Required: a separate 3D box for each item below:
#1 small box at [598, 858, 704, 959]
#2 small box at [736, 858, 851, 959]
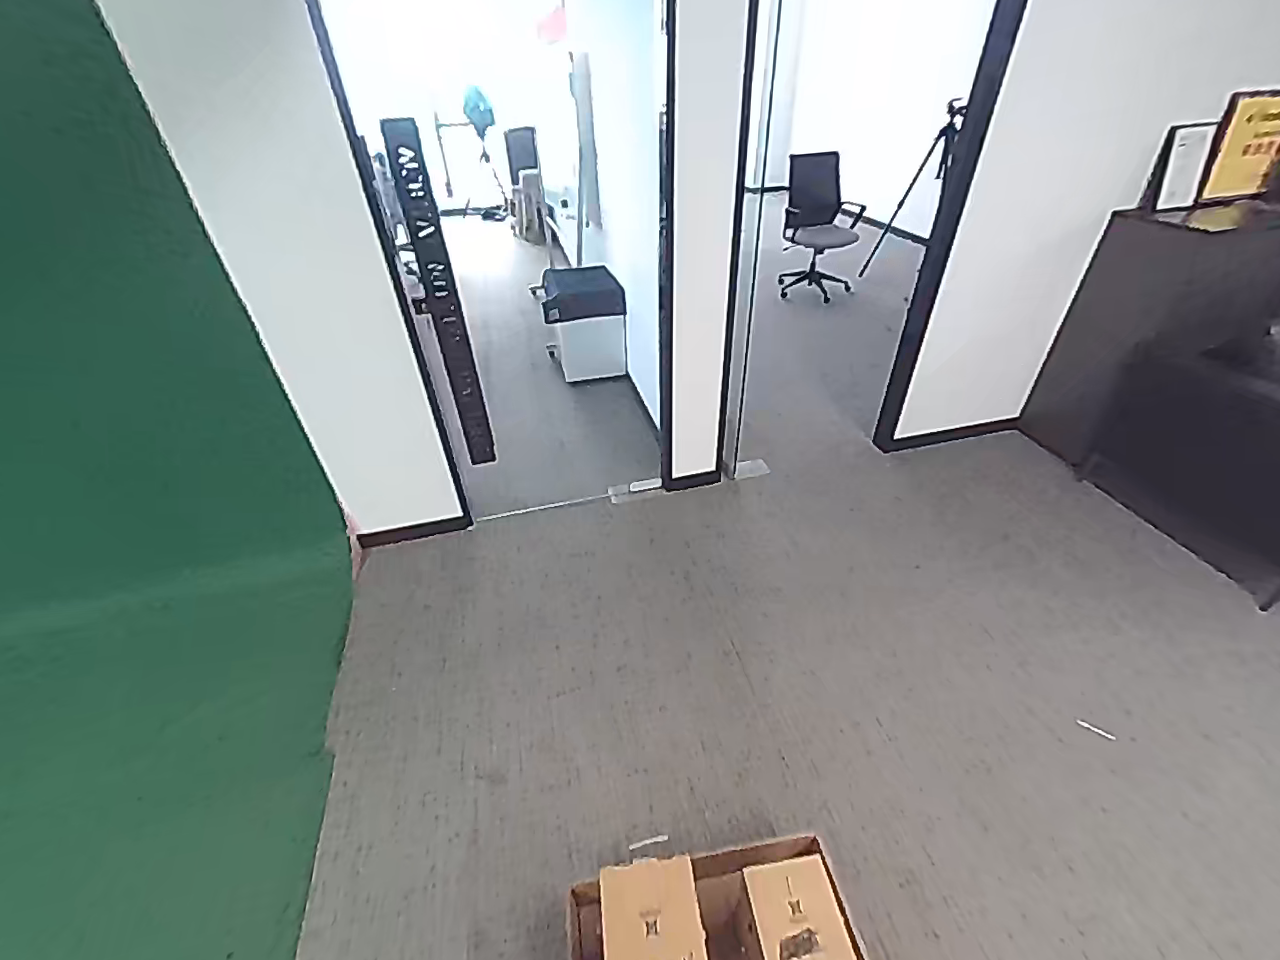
[{"bbox_3d":[0.014,0.793,0.933,0.168,0.176,0.179,-4,36,-5],"label":"small box"},{"bbox_3d":[0.294,0.888,1.067,0.168,0.176,0.179,-7,36,-5],"label":"small box"}]
